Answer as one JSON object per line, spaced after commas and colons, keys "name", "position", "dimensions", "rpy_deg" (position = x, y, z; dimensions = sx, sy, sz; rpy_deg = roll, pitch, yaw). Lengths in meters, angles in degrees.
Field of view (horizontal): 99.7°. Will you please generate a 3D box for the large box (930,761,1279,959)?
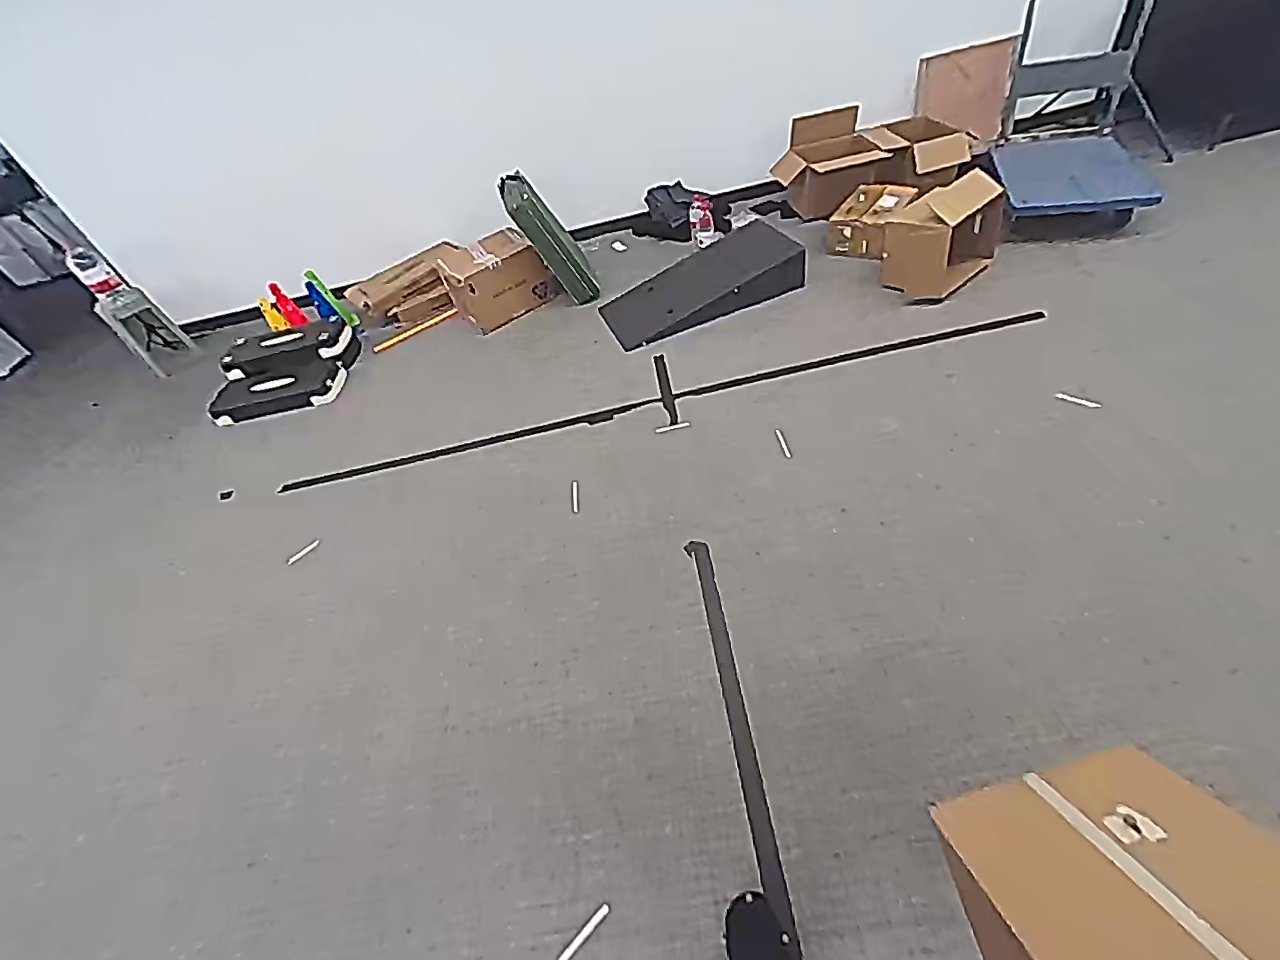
{"name": "large box", "position": [0.625, 0.612, 0.619], "dimensions": [0.320, 0.408, 0.320], "rpy_deg": [-19, 89, 4]}
